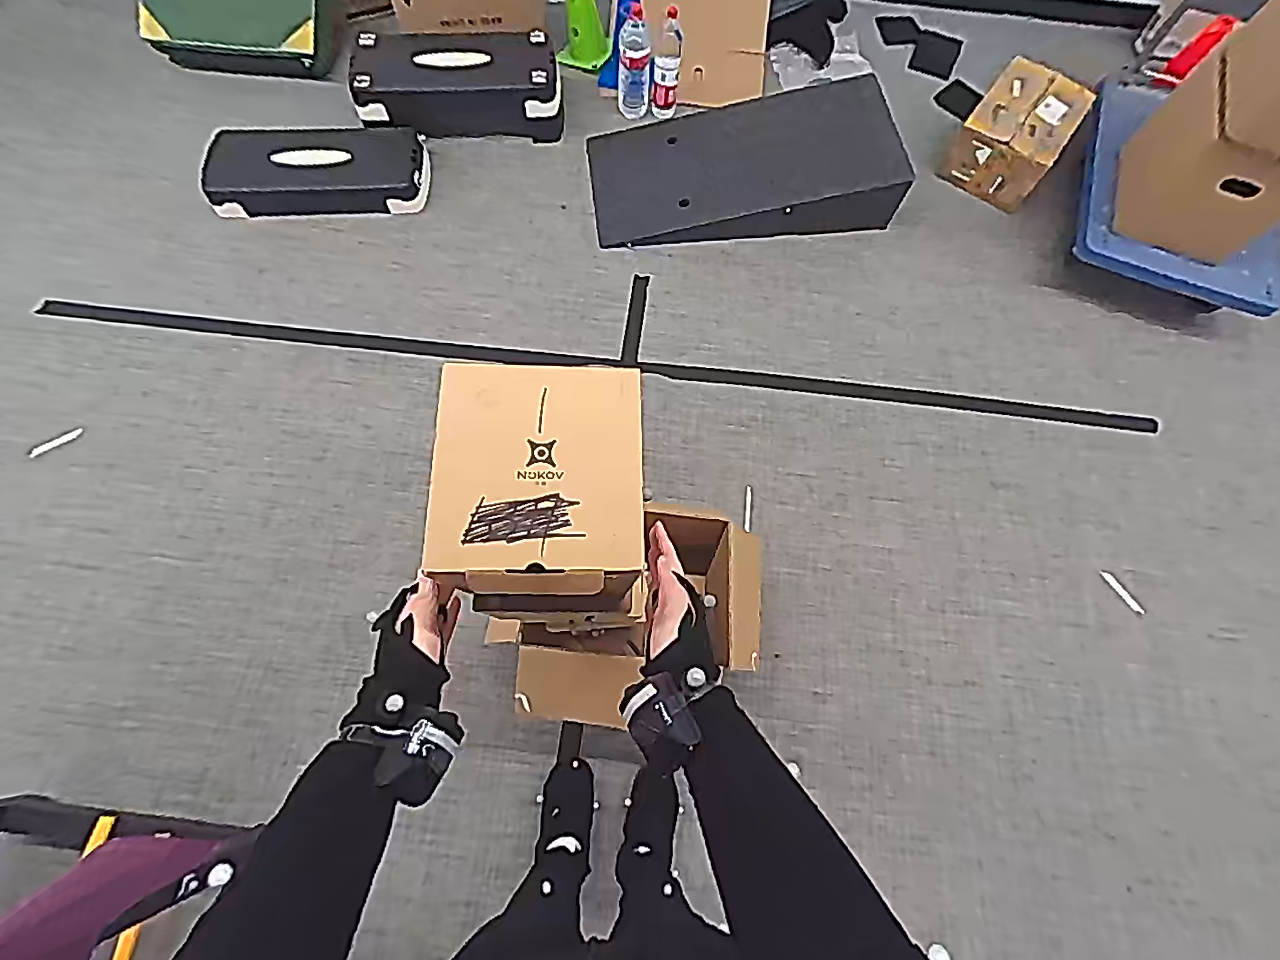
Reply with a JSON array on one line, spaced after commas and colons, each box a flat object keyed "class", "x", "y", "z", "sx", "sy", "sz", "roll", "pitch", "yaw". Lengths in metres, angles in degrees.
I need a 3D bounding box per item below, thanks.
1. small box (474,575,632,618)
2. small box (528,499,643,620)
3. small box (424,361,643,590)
[{"class": "small box", "x": -0.094, "y": 0.074, "z": 0.657, "sx": 0.168, "sy": 0.176, "sz": 0.179, "roll": 3, "pitch": 73, "yaw": -5}, {"class": "small box", "x": -0.089, "y": 0.123, "z": 0.813, "sx": 0.179, "sy": 0.176, "sz": 0.168, "roll": 2, "pitch": 74, "yaw": -5}, {"class": "small box", "x": -0.086, "y": 0.009, "z": 0.505, "sx": 0.168, "sy": 0.176, "sz": 0.179, "roll": 1, "pitch": 73, "yaw": -6}]
